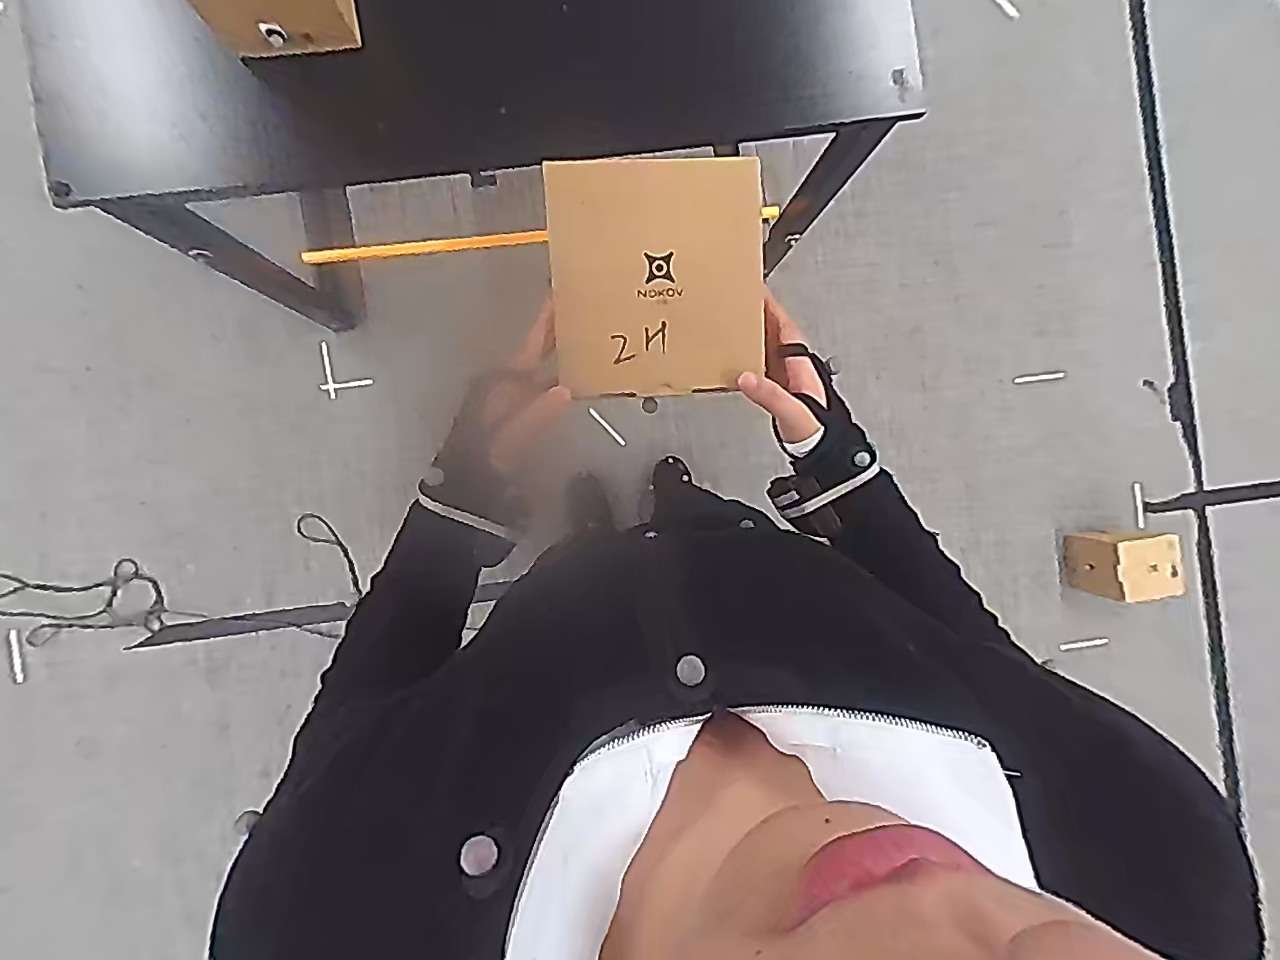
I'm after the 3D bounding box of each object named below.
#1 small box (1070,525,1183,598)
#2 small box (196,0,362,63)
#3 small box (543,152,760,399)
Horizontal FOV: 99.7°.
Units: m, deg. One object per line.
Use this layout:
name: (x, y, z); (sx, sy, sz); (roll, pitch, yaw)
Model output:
small box: (1.352, 0.225, 1.518); (0.179, 0.176, 0.168); (-8, 92, -3)
small box: (-0.466, -0.658, 0.652); (0.168, 0.176, 0.179); (-10, 92, -3)
small box: (0.005, -0.169, 0.495); (0.168, 0.176, 0.179); (-3, 97, -3)
